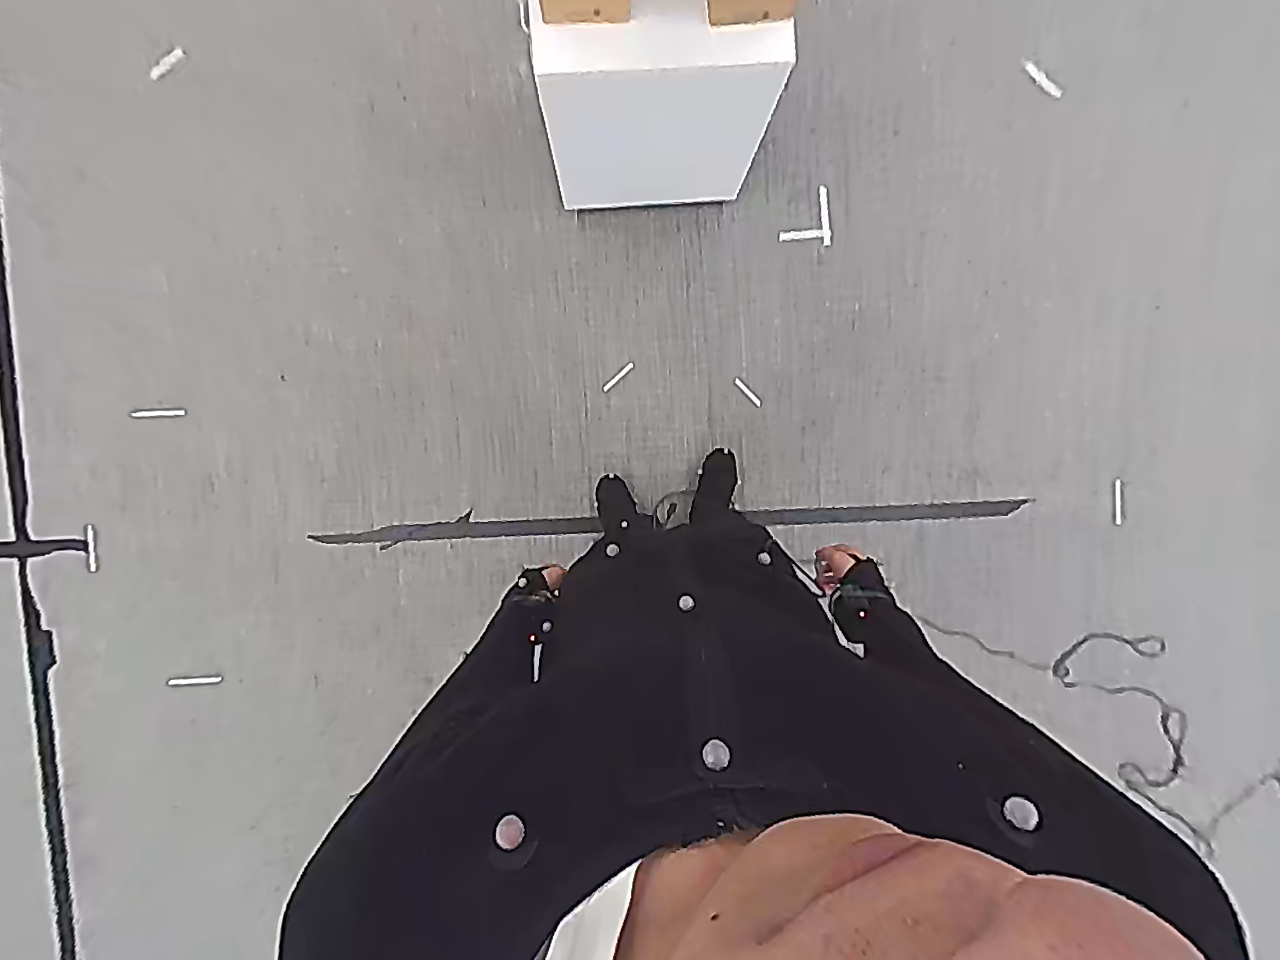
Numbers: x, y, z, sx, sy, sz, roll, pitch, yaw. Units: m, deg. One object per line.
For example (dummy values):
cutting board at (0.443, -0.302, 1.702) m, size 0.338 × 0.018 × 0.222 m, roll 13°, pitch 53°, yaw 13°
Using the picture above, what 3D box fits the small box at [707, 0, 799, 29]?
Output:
small box at (0.205, -0.952, 0.951) m, size 0.168 × 0.176 × 0.179 m, roll -6°, pitch 91°, yaw 0°

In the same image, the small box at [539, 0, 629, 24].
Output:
small box at (-0.104, -0.943, 0.944) m, size 0.168 × 0.176 × 0.179 m, roll -3°, pitch 91°, yaw -2°
